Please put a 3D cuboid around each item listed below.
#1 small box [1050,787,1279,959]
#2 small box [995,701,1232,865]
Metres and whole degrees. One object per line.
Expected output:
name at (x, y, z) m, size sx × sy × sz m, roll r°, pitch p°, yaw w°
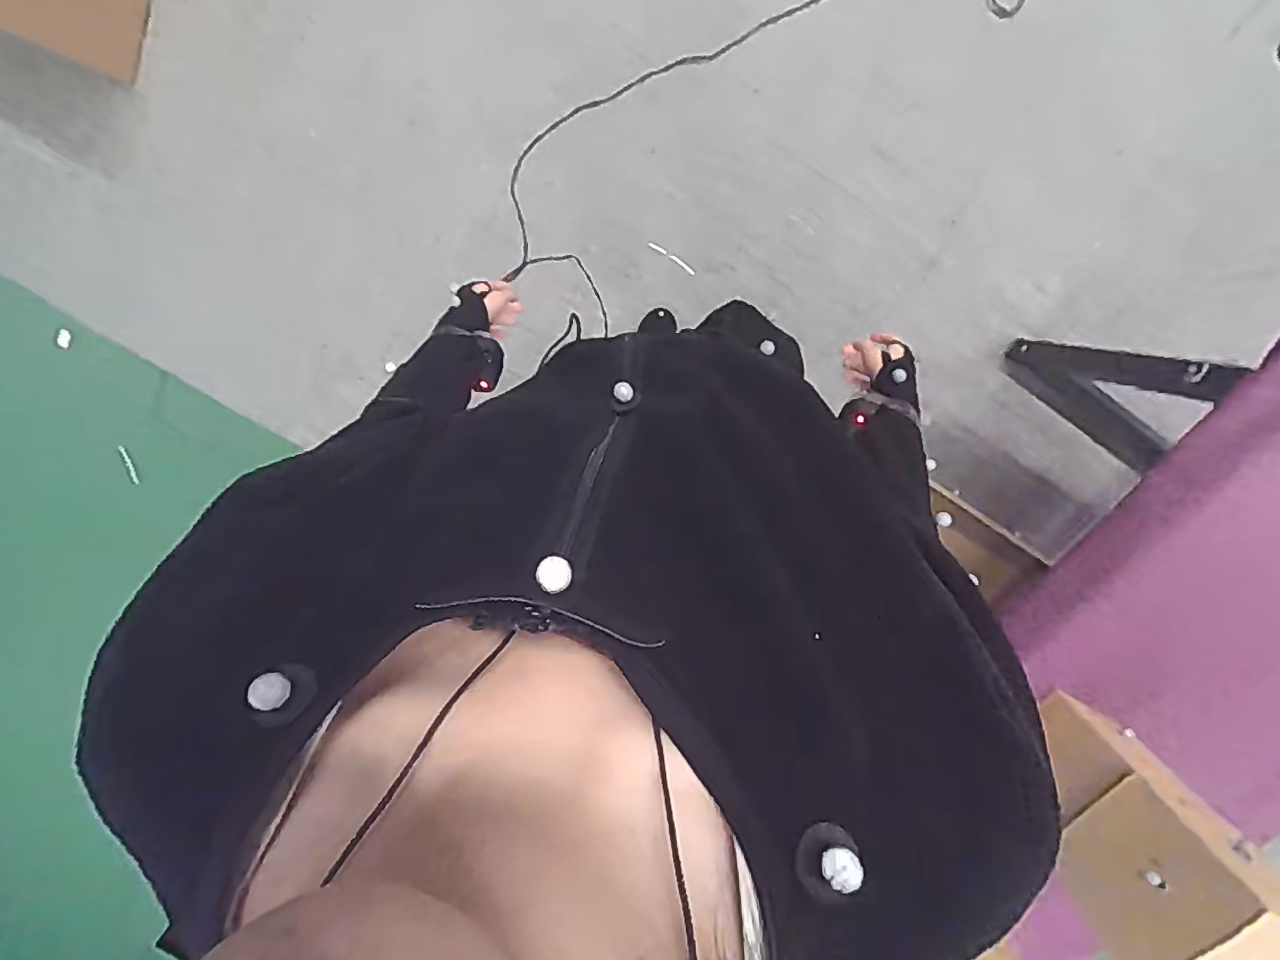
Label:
small box at (0.657, 0.515, 0.648) m, size 0.168 × 0.176 × 0.179 m, roll 30°, pitch 107°, yaw -7°
small box at (0.677, 0.475, 0.807) m, size 0.168 × 0.176 × 0.179 m, roll 31°, pitch 107°, yaw -9°
